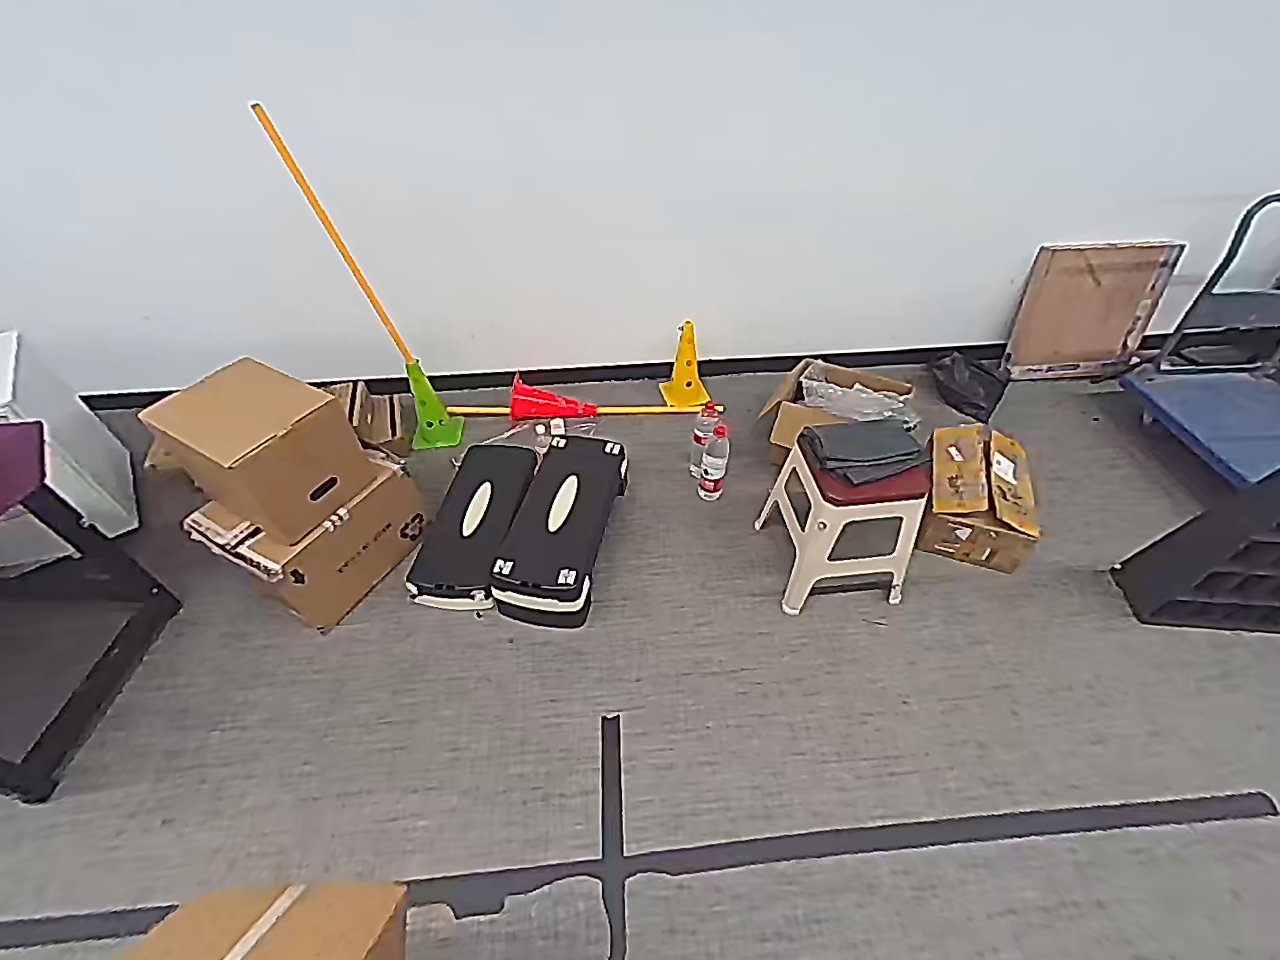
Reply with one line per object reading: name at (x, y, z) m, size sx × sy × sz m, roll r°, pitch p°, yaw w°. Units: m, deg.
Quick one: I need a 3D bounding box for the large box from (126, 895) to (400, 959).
large box at (-0.503, 0.754, 0.598) m, size 0.320 × 0.408 × 0.320 m, roll 0°, pitch 84°, yaw -2°
